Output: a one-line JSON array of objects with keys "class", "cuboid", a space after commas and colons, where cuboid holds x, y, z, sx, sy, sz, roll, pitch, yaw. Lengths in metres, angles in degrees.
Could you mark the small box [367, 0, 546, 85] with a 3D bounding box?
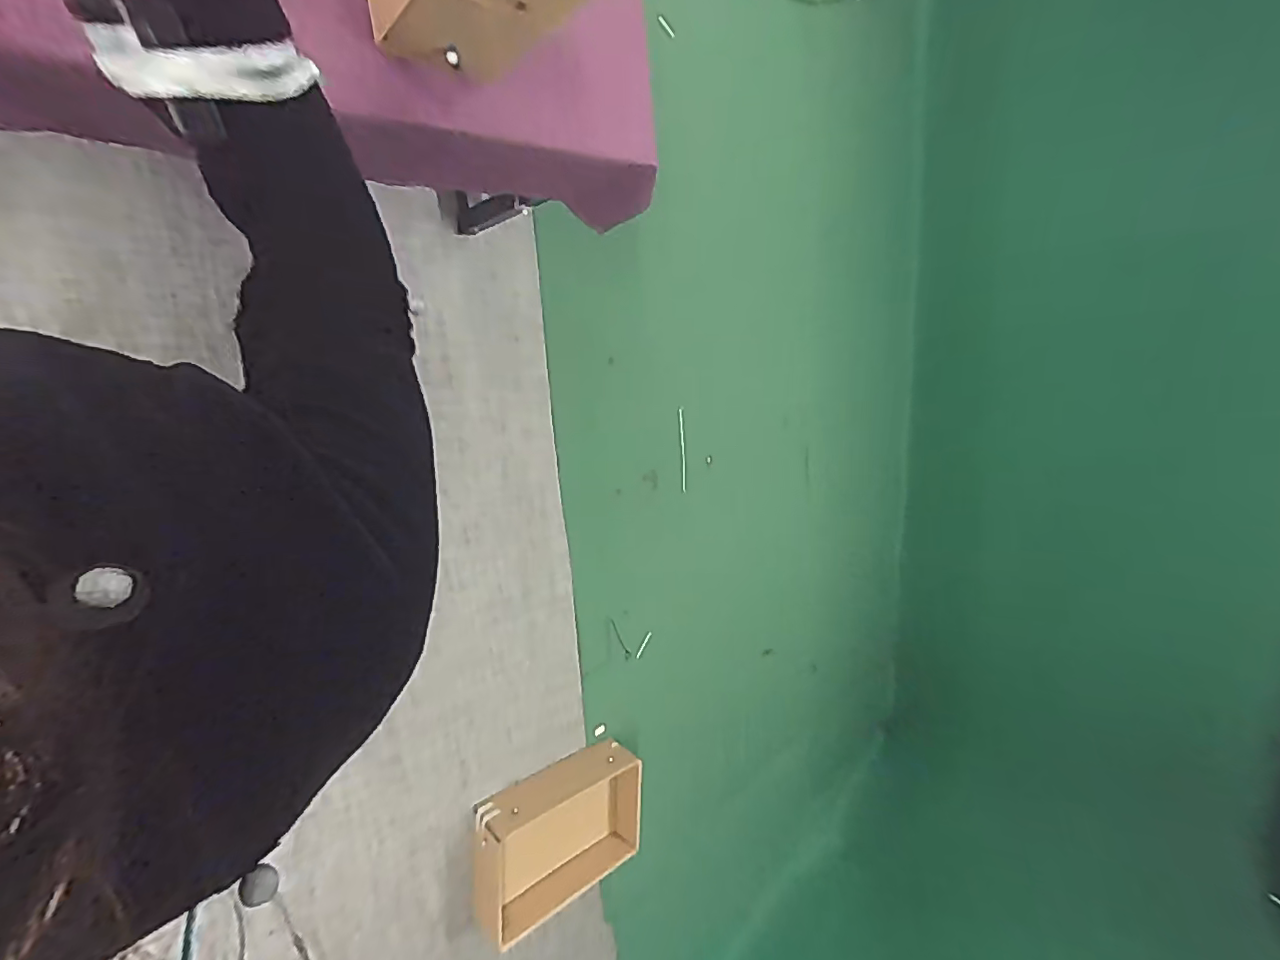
[{"class": "small box", "cuboid": [-0.243, -0.654, 0.688, 0.168, 0.176, 0.179, -16, 108, -42]}]
